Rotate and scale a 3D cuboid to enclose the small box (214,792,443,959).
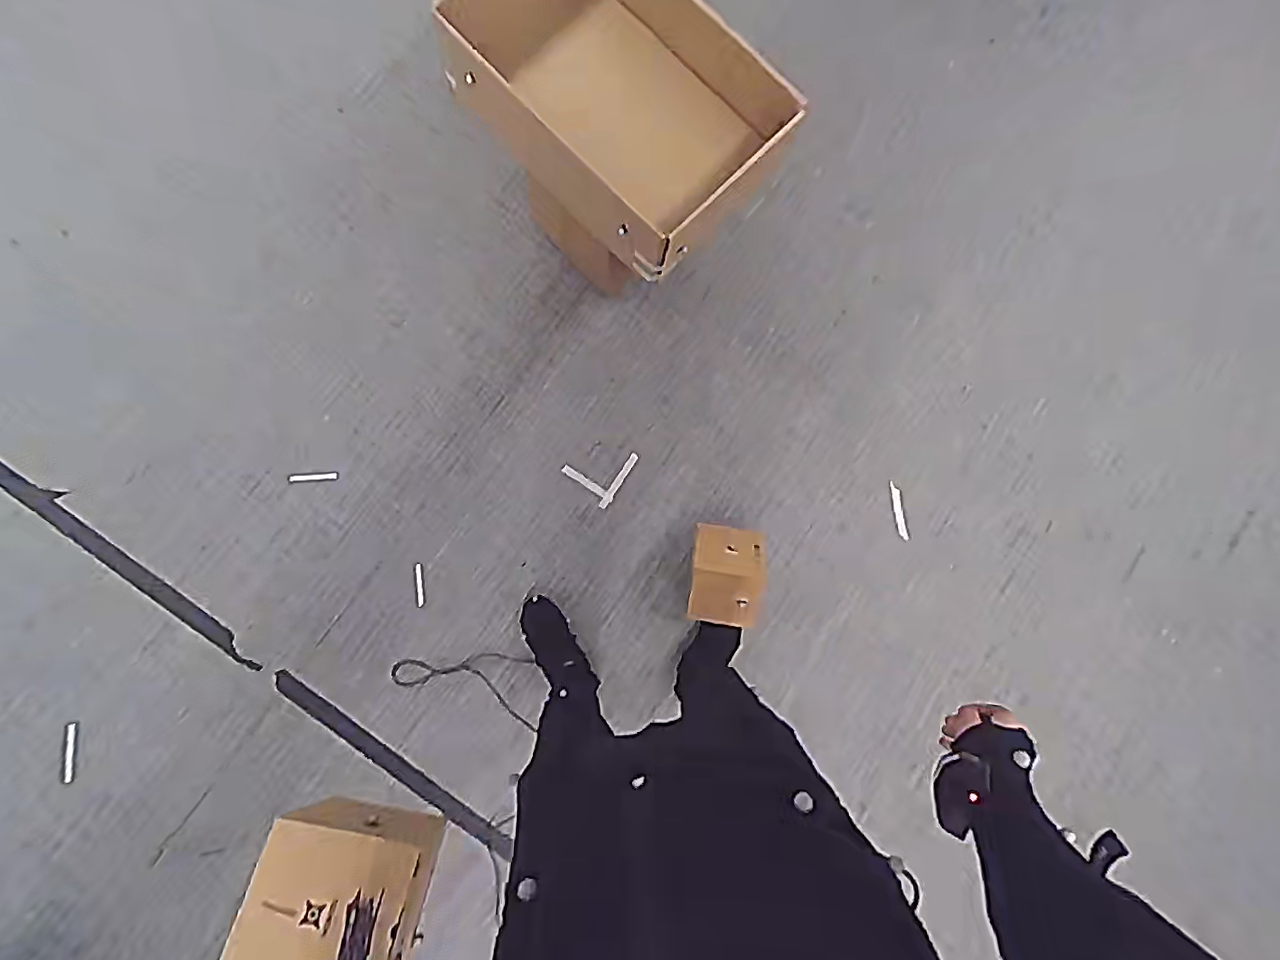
[{"bbox_3d":[-0.364,0.501,0.670,0.179,0.176,0.168,13,65,-3],"label":"small box"}]
